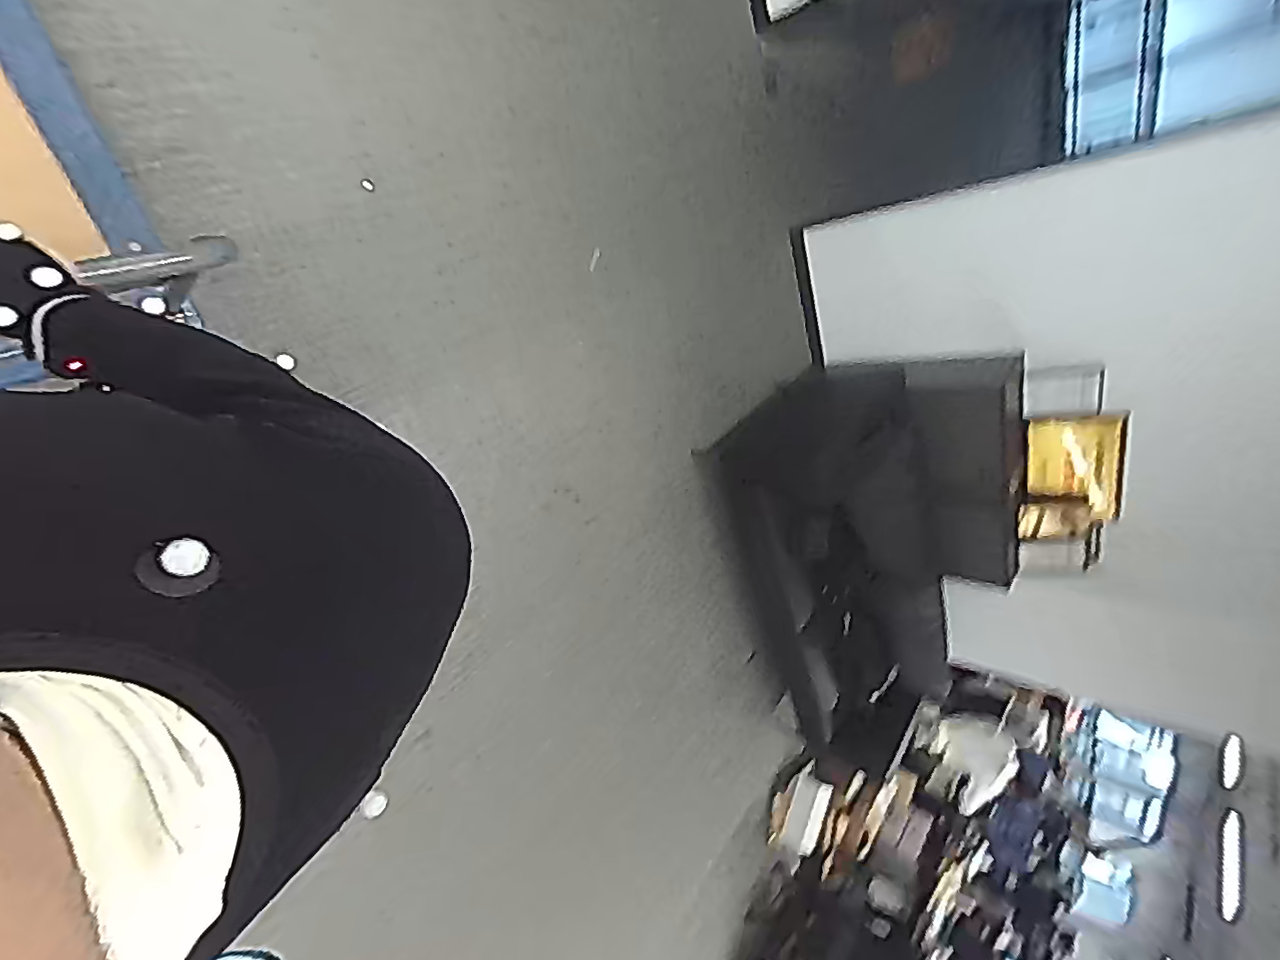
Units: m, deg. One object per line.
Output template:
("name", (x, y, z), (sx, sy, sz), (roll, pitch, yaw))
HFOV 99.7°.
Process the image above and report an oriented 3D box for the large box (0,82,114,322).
("large box", (-1.080, -0.447, 0.788), (0.320, 0.320, 0.408), (-36, 119, -37))
